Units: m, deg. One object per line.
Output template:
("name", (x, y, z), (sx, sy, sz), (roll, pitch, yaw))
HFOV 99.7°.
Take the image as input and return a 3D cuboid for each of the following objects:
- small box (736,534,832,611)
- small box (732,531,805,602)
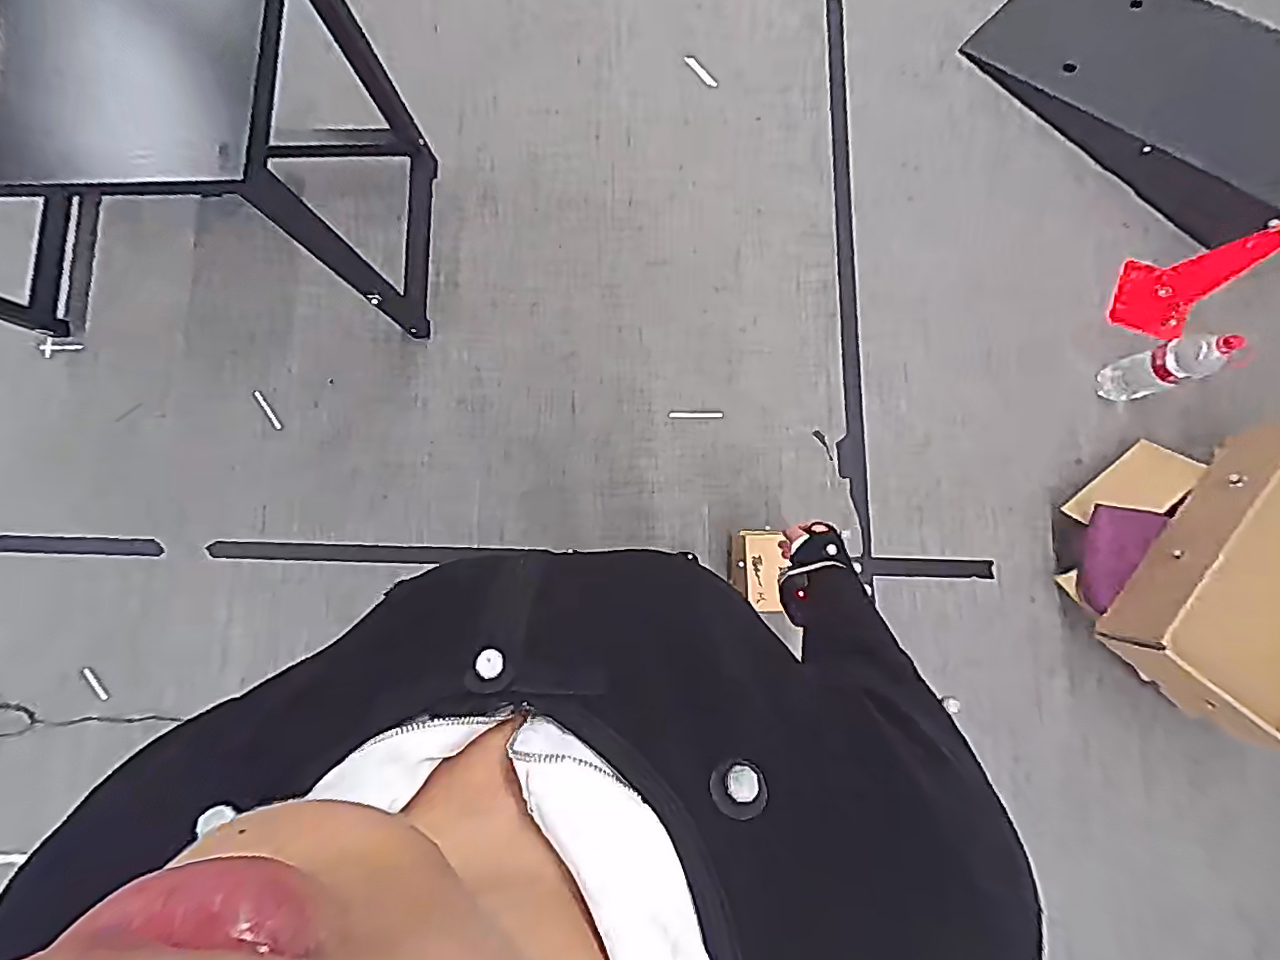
("small box", (0.323, 0.207, 1.241), (0.179, 0.176, 0.168), (-2, 83, 2))
("small box", (0.333, 0.224, 1.404), (0.168, 0.176, 0.179), (0, 82, 2))
